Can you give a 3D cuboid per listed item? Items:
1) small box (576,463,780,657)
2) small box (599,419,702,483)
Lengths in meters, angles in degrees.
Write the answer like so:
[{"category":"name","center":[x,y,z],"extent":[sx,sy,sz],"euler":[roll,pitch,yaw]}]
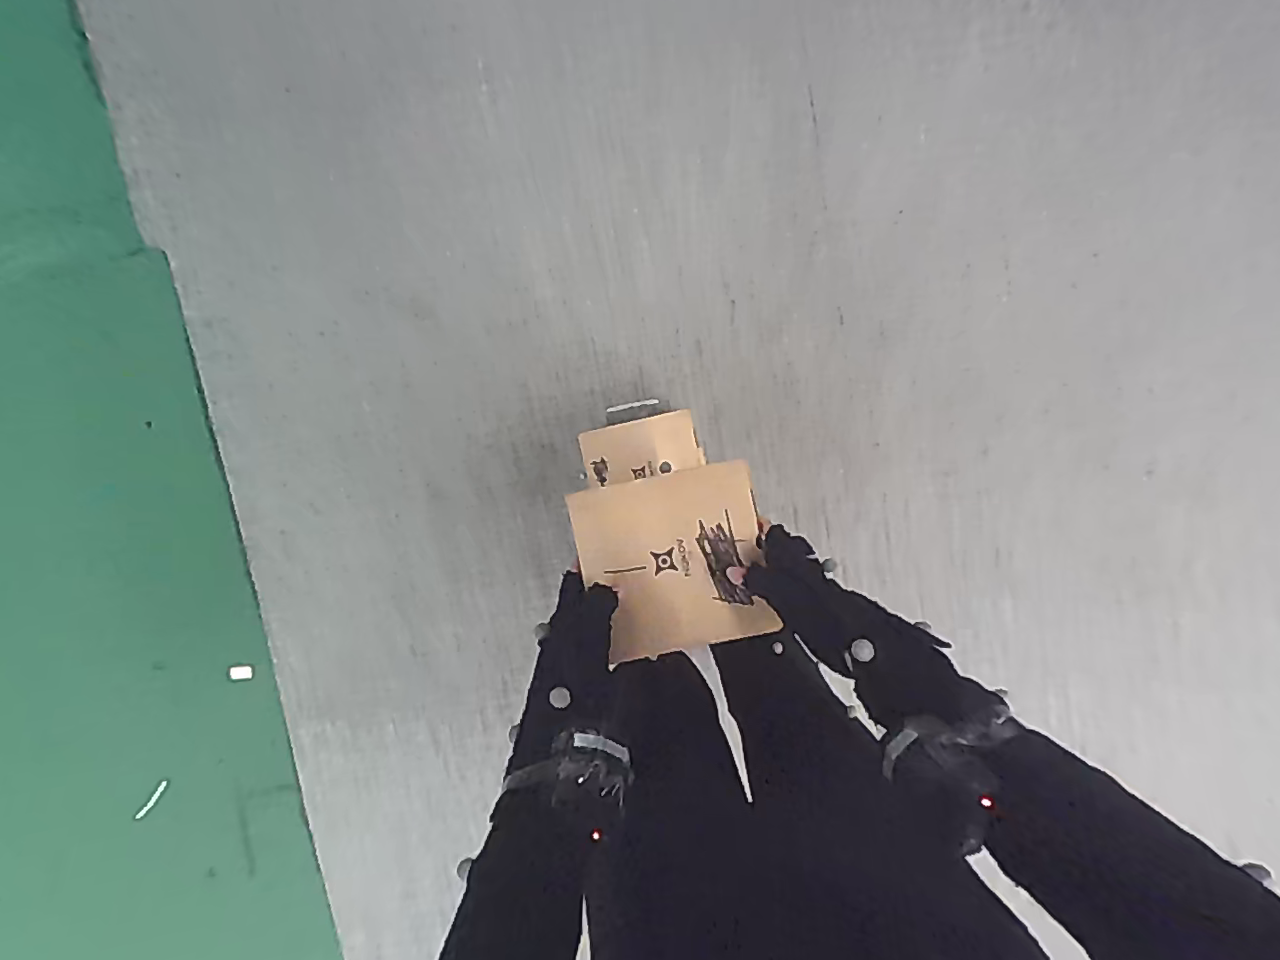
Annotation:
[{"category":"small box","center":[0.036,0.081,0.591],"extent":[0.179,0.176,0.168],"euler":[-9,84,1]},{"category":"small box","center":[0.027,-0.025,1.060],"extent":[0.179,0.176,0.168],"euler":[-12,94,4]}]
